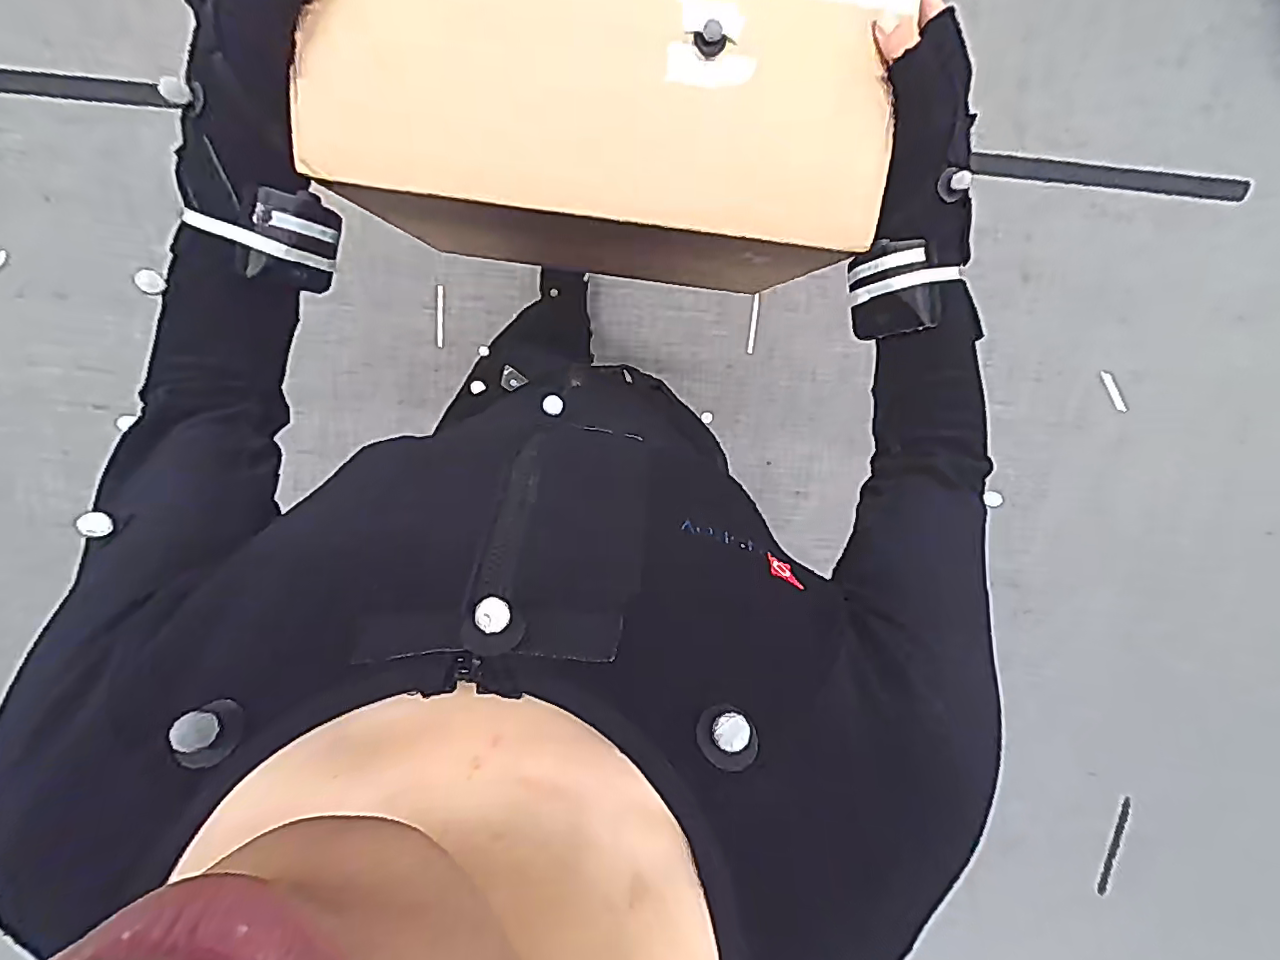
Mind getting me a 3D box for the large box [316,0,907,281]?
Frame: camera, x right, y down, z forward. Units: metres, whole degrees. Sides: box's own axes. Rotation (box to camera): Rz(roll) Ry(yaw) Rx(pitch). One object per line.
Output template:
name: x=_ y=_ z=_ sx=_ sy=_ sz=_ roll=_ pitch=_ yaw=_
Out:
large box: x=-0.021 y=-0.385 z=0.504 sx=0.408 sy=0.320 sz=0.320 roll=5 pitch=103 yaw=-5
